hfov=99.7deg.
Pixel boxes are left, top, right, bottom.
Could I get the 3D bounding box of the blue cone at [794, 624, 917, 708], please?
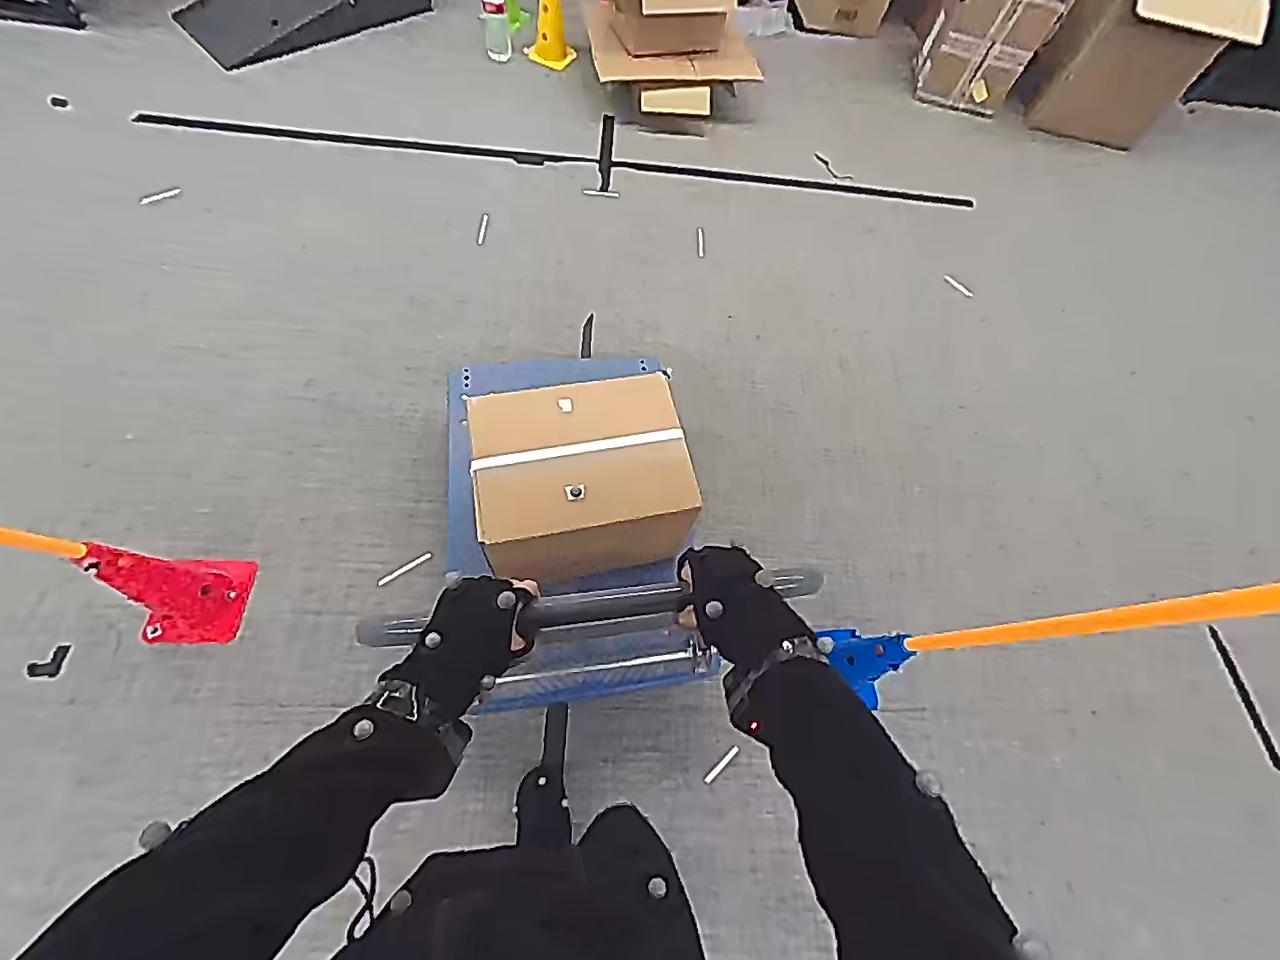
[{"bbox_3d":[0.514,0.397,1.224,0.193,0.380,0.192,0,62,-7],"label":"blue cone"}]
